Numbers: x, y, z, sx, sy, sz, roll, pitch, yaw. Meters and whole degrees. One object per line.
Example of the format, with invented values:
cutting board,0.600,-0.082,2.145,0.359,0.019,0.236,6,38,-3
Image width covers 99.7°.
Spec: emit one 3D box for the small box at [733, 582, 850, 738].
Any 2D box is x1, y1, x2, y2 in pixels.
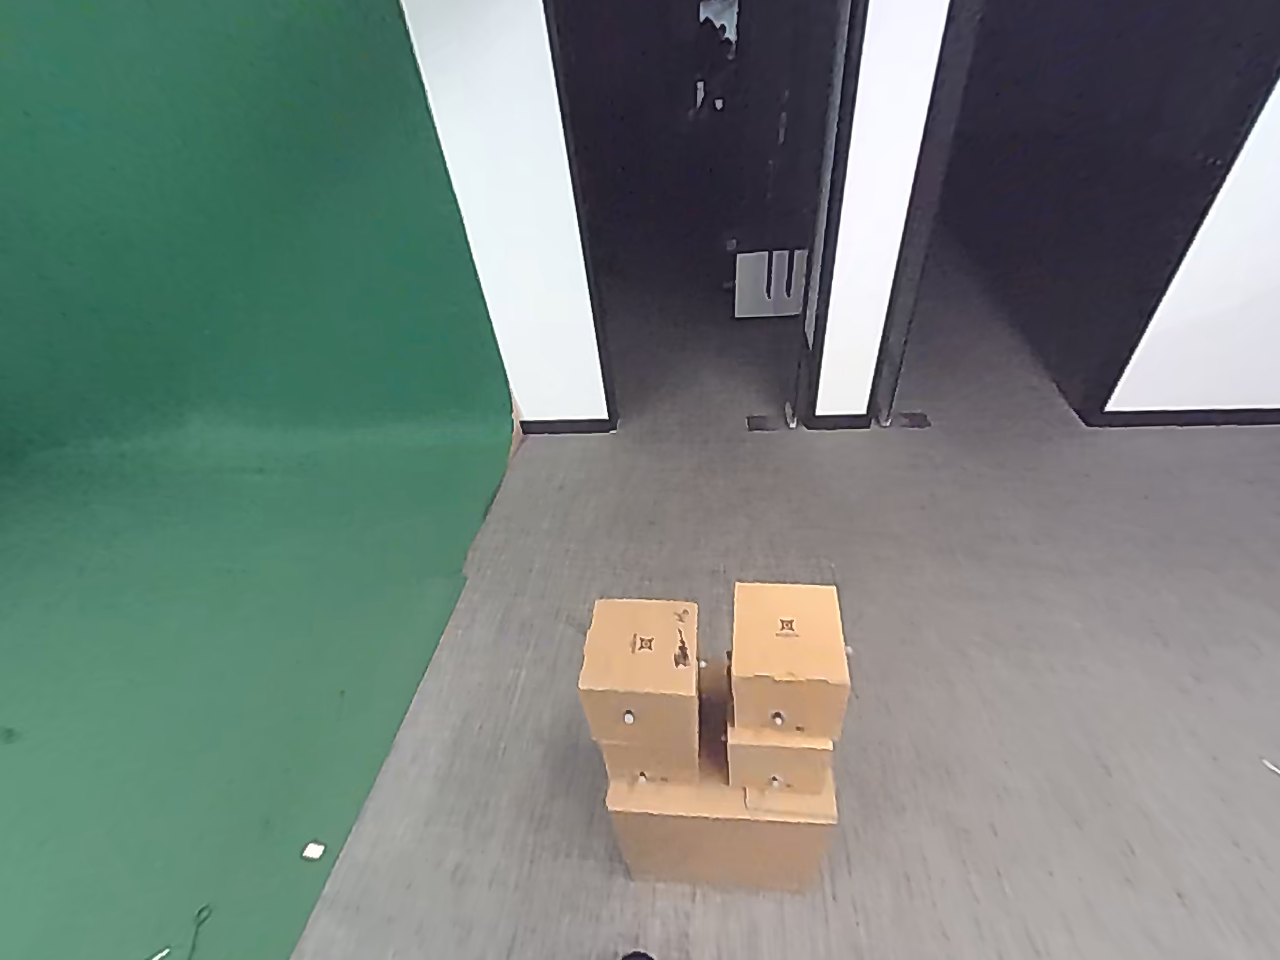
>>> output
small box,0.241,0.294,0.894,0.168,0.176,0.179,1,40,11
